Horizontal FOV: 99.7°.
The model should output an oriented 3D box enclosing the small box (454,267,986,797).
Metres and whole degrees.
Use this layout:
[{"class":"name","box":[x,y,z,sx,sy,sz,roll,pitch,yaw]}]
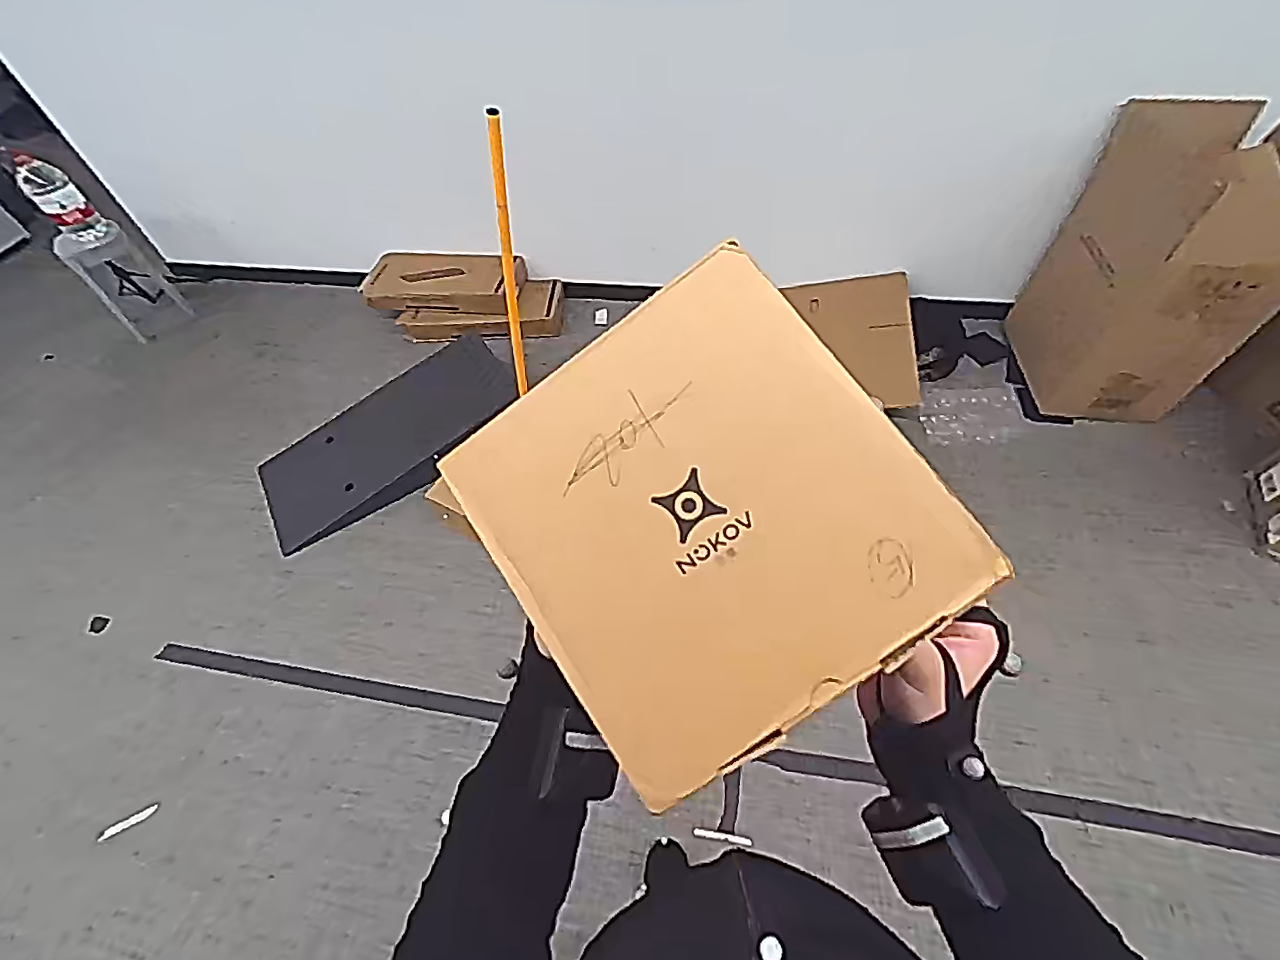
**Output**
[{"class":"small box","box":[0.039,0.026,0.311,0.168,0.176,0.179,-37,77,4]}]
